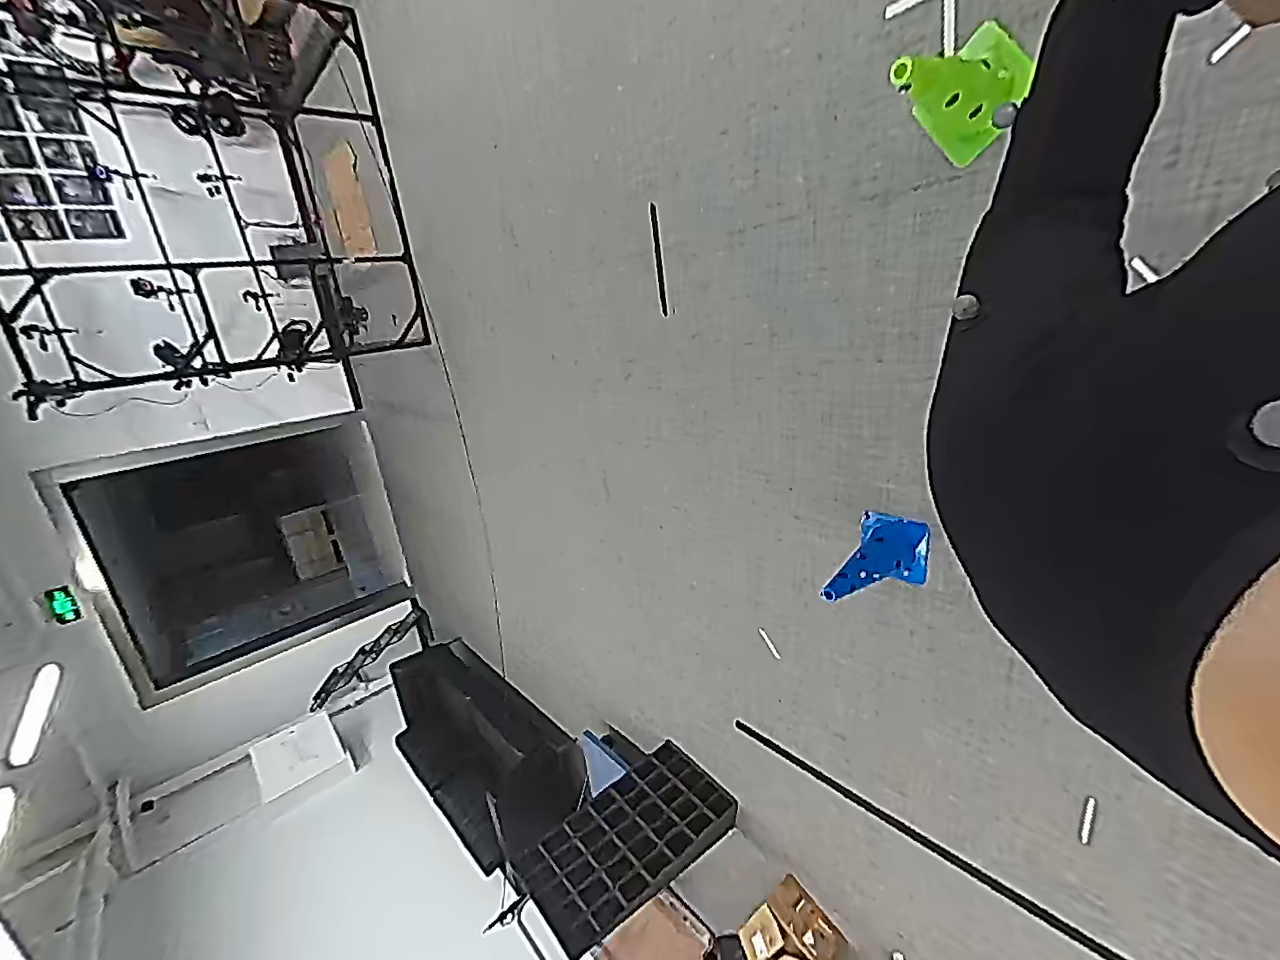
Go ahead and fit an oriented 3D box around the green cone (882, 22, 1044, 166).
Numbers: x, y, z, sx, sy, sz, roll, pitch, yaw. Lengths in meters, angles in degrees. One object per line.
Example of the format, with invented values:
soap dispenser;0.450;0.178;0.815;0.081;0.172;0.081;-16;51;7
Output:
green cone;0.592;-0.781;1.071;0.200;0.368;0.202;61;144;13

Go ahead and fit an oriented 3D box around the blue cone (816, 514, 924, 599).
blue cone;0.631;0.251;1.535;0.192;0.380;0.193;19;120;47
